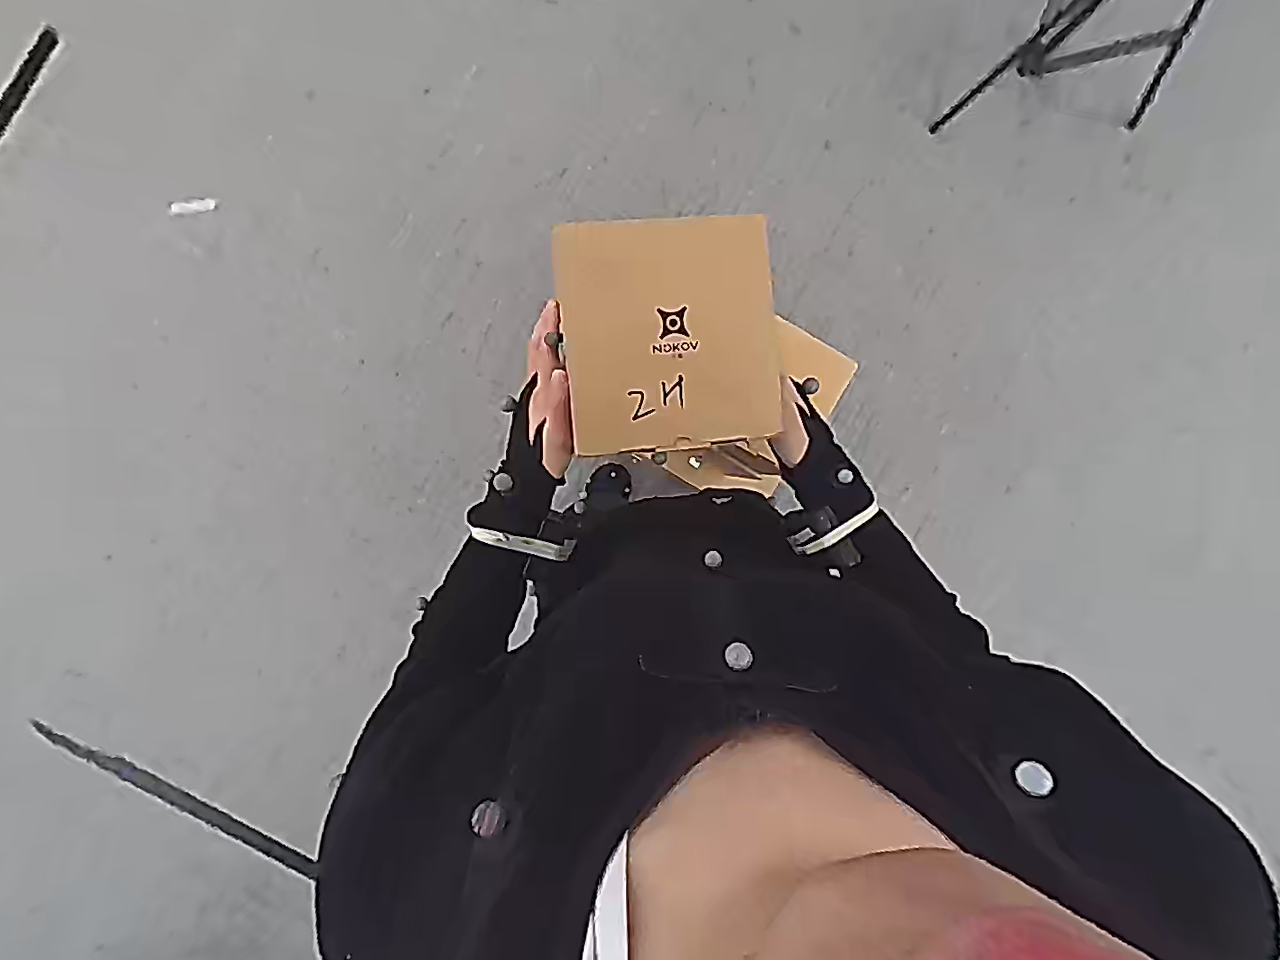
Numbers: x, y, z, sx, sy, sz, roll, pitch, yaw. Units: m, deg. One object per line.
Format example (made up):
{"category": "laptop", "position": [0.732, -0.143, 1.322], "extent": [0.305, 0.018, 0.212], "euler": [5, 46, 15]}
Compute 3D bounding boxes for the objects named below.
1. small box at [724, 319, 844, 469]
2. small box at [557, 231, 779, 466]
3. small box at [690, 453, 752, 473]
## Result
{"category": "small box", "position": [0.167, -0.126, 0.803], "extent": [0.168, 0.176, 0.179], "euler": [22, 91, -2]}
{"category": "small box", "position": [0.012, -0.108, 0.505], "extent": [0.168, 0.176, 0.179], "euler": [-6, 92, -9]}
{"category": "small box", "position": [0.159, -0.119, 1.130], "extent": [0.179, 0.176, 0.168], "euler": [21, 91, -3]}
